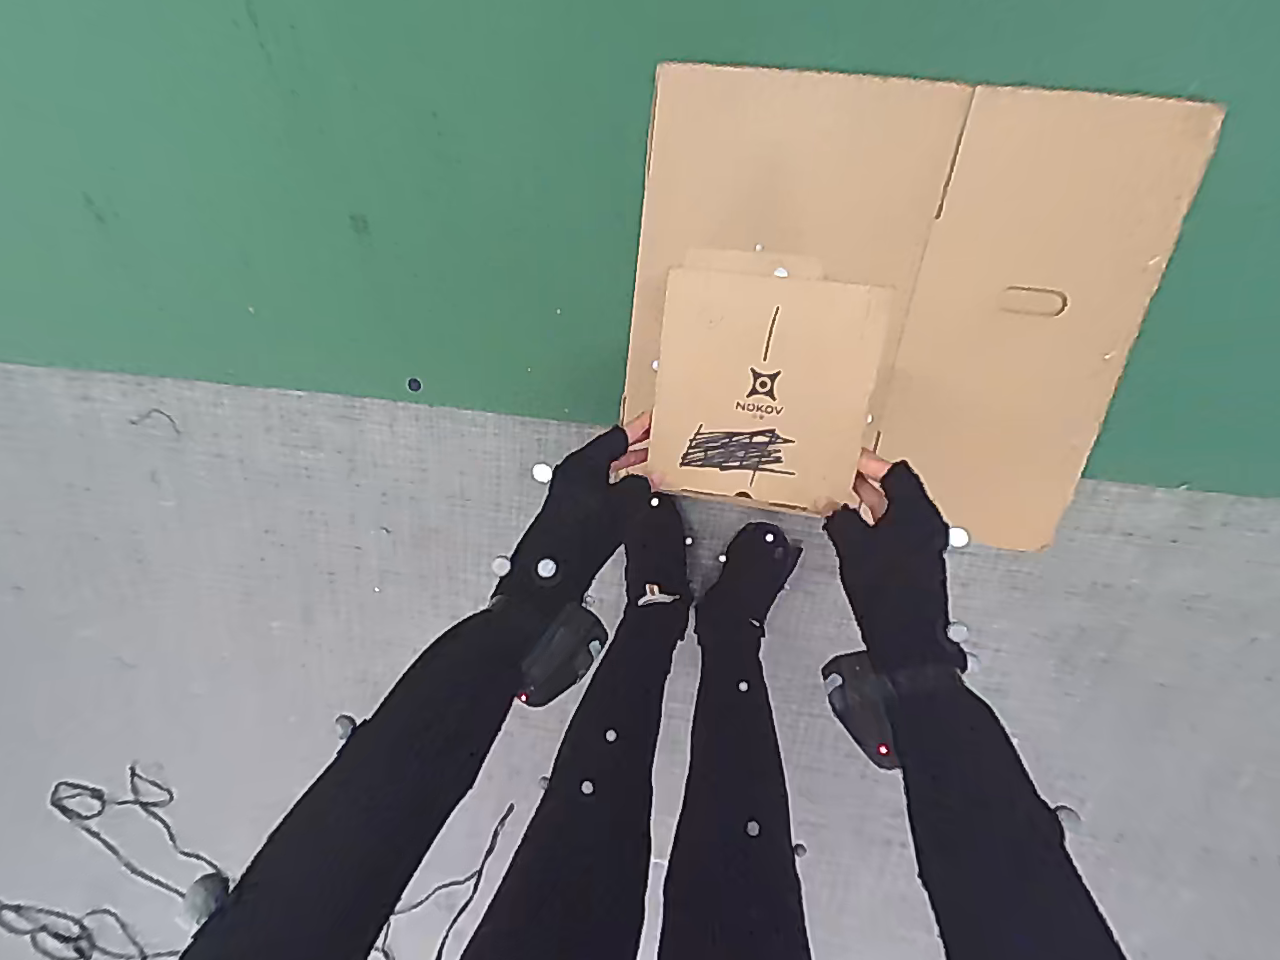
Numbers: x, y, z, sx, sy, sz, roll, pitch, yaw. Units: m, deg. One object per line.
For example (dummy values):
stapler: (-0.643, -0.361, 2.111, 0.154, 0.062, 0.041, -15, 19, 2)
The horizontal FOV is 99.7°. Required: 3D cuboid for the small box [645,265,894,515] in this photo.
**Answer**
small box: (0.108, -0.087, 0.494, 0.168, 0.176, 0.179, 9, 105, 9)
